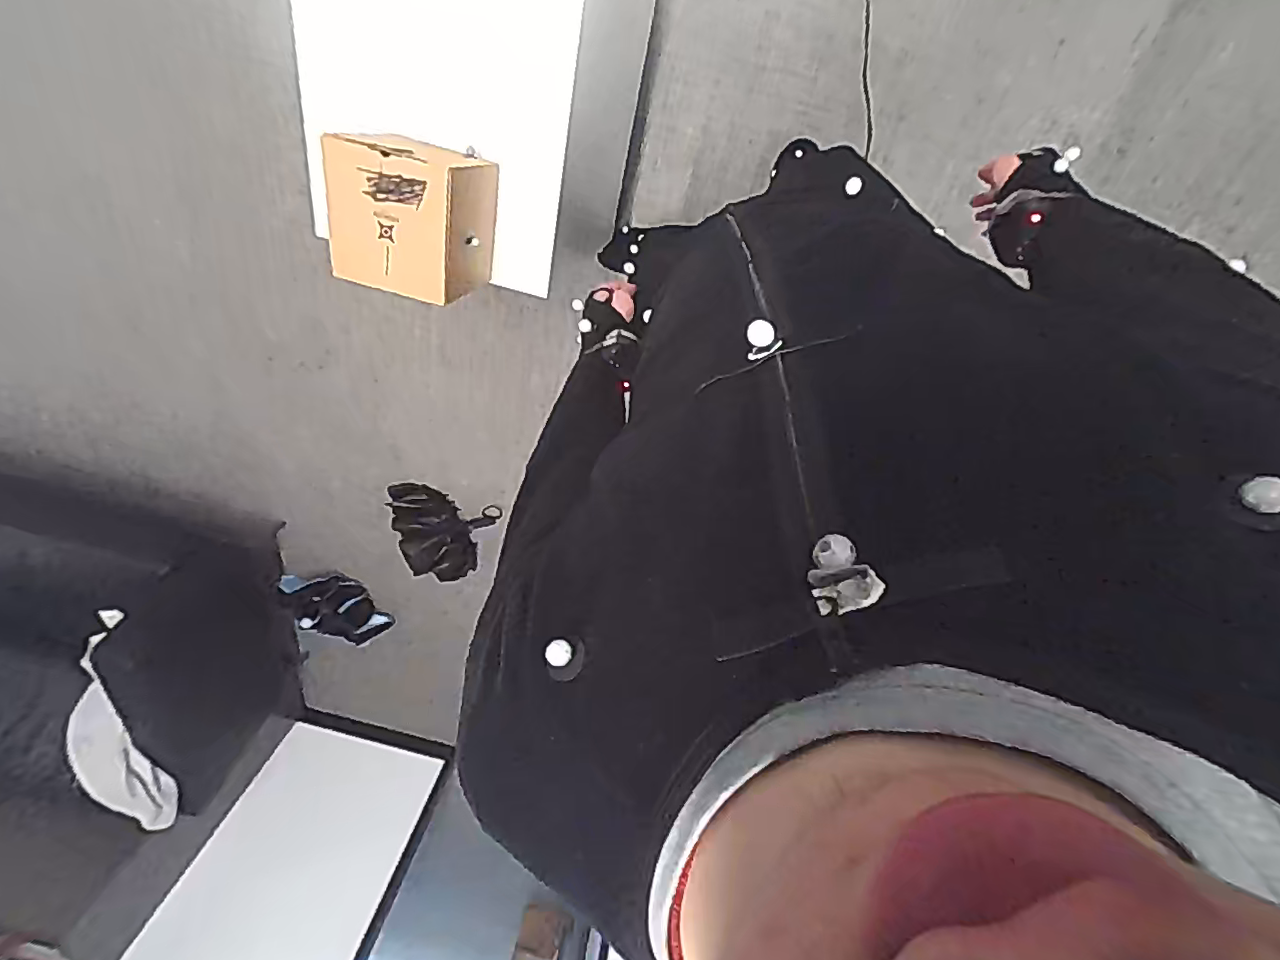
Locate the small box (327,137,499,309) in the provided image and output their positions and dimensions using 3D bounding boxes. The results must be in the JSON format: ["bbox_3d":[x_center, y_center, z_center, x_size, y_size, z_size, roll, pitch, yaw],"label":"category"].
[{"bbox_3d":[-0.313,-0.371,0.775,0.168,0.176,0.179,16,124,1],"label":"small box"}]
